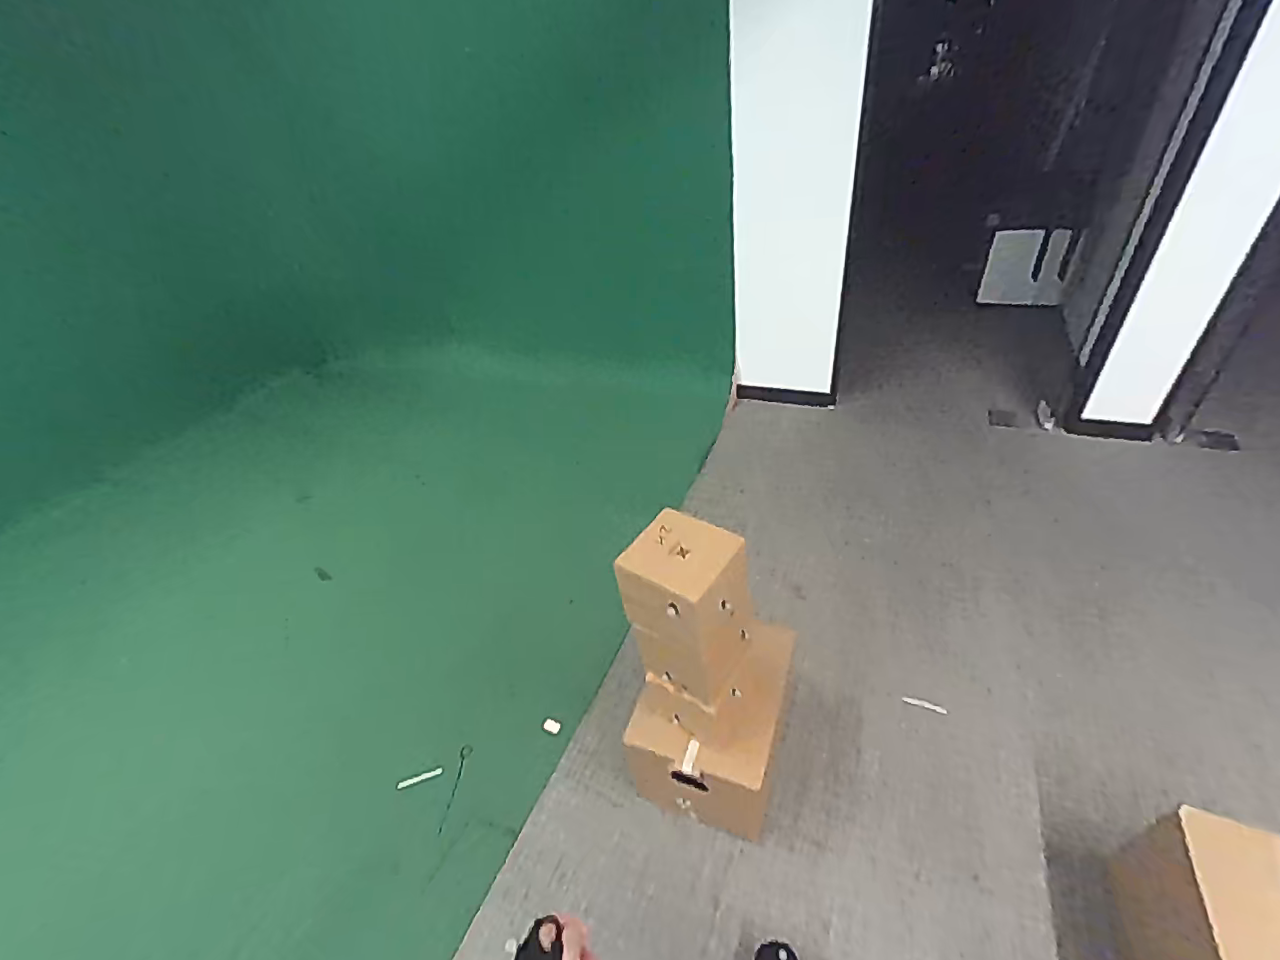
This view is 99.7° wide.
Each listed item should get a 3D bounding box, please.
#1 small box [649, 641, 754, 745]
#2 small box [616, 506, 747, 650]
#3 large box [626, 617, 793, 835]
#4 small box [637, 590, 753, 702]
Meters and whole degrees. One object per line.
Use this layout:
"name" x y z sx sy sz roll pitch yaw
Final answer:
"small box" 0.139 0.438 1.193 0.168 0.176 0.179 18 47 30
"small box" 0.084 0.183 0.995 0.179 0.176 0.168 21 48 33
"large box" 0.196 0.591 1.379 0.320 0.320 0.408 10 42 22
"small box" 0.117 0.307 1.098 0.168 0.176 0.179 20 49 33
